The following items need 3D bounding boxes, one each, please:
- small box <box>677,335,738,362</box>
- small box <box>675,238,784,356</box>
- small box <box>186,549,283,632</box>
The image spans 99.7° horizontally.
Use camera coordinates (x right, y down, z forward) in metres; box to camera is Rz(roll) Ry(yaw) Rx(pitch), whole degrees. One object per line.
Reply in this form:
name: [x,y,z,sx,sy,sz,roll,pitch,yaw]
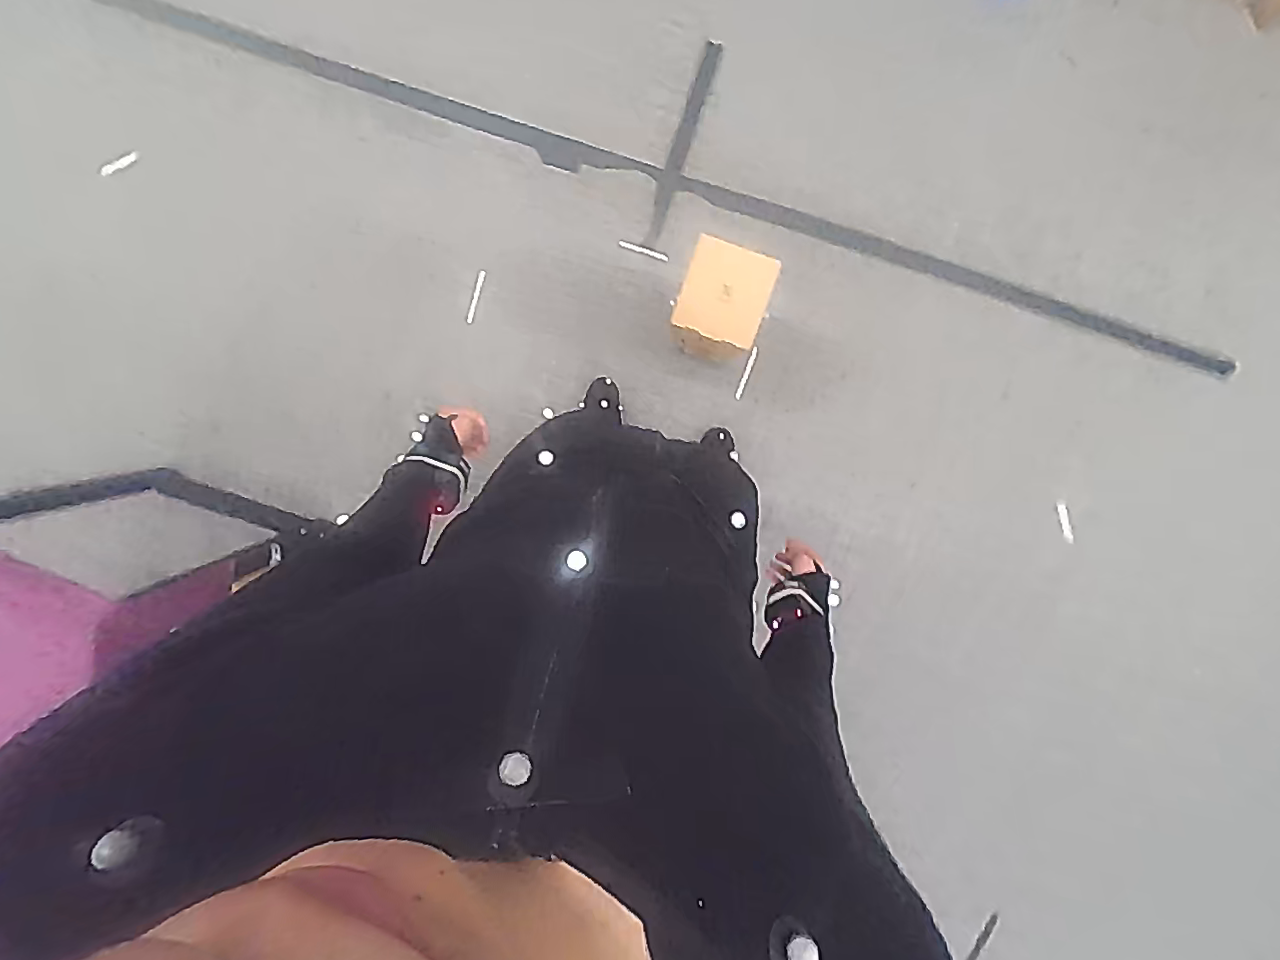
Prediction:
small box: [0.198,-0.422,1.439,0.168,0.176,0.179,17,102,1]
small box: [0.173,-0.368,1.116,0.168,0.176,0.179,20,102,-1]
small box: [-1.260,0.339,1.691,0.168,0.176,0.179,20,102,1]
